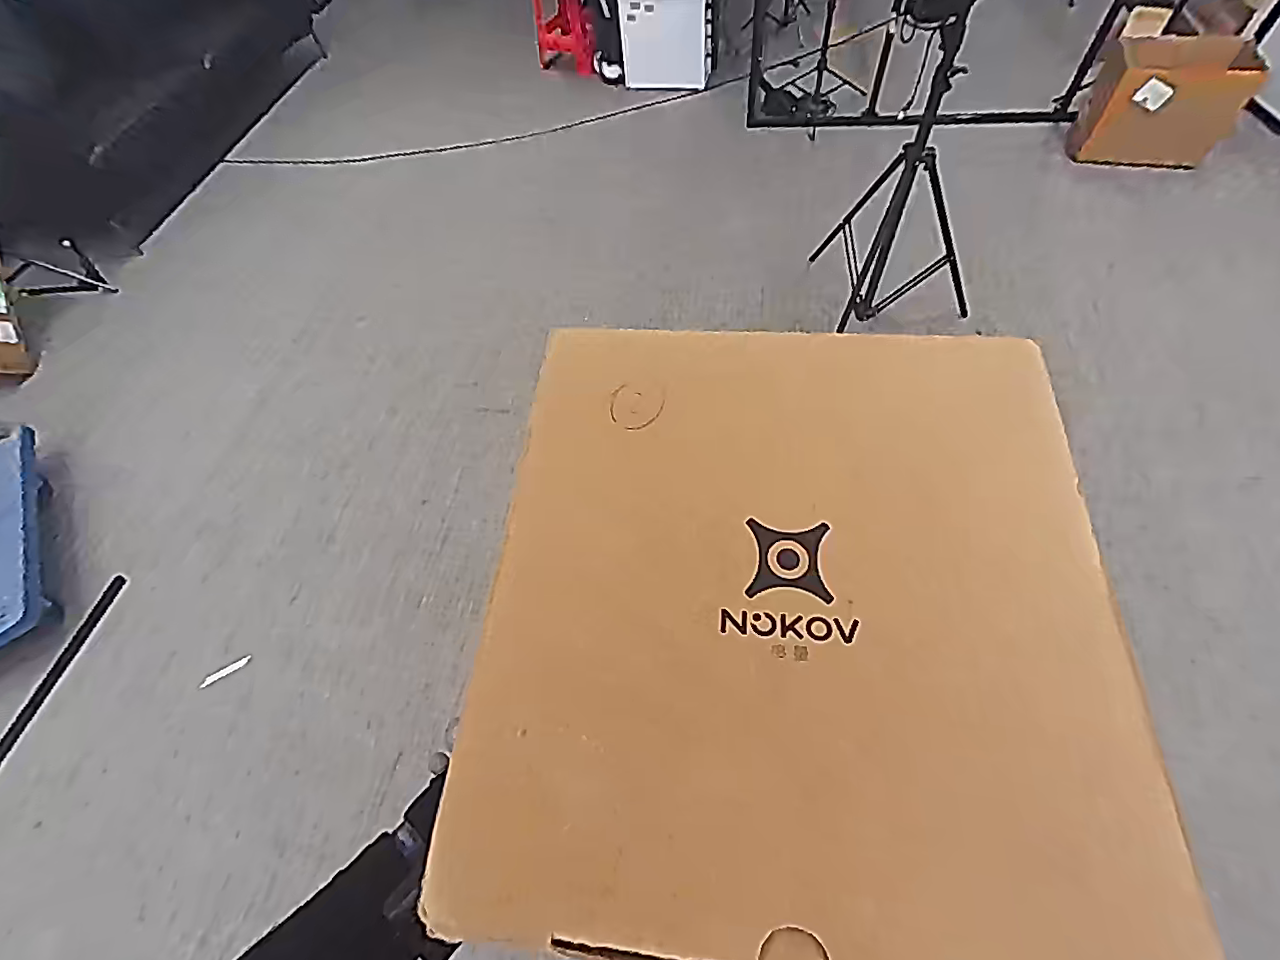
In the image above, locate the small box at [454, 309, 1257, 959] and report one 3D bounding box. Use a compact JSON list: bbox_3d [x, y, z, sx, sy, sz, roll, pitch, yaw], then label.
[{"bbox_3d":[0.051,0.056,0.221,0.168,0.176,0.179,3,63,6],"label":"small box"}]
